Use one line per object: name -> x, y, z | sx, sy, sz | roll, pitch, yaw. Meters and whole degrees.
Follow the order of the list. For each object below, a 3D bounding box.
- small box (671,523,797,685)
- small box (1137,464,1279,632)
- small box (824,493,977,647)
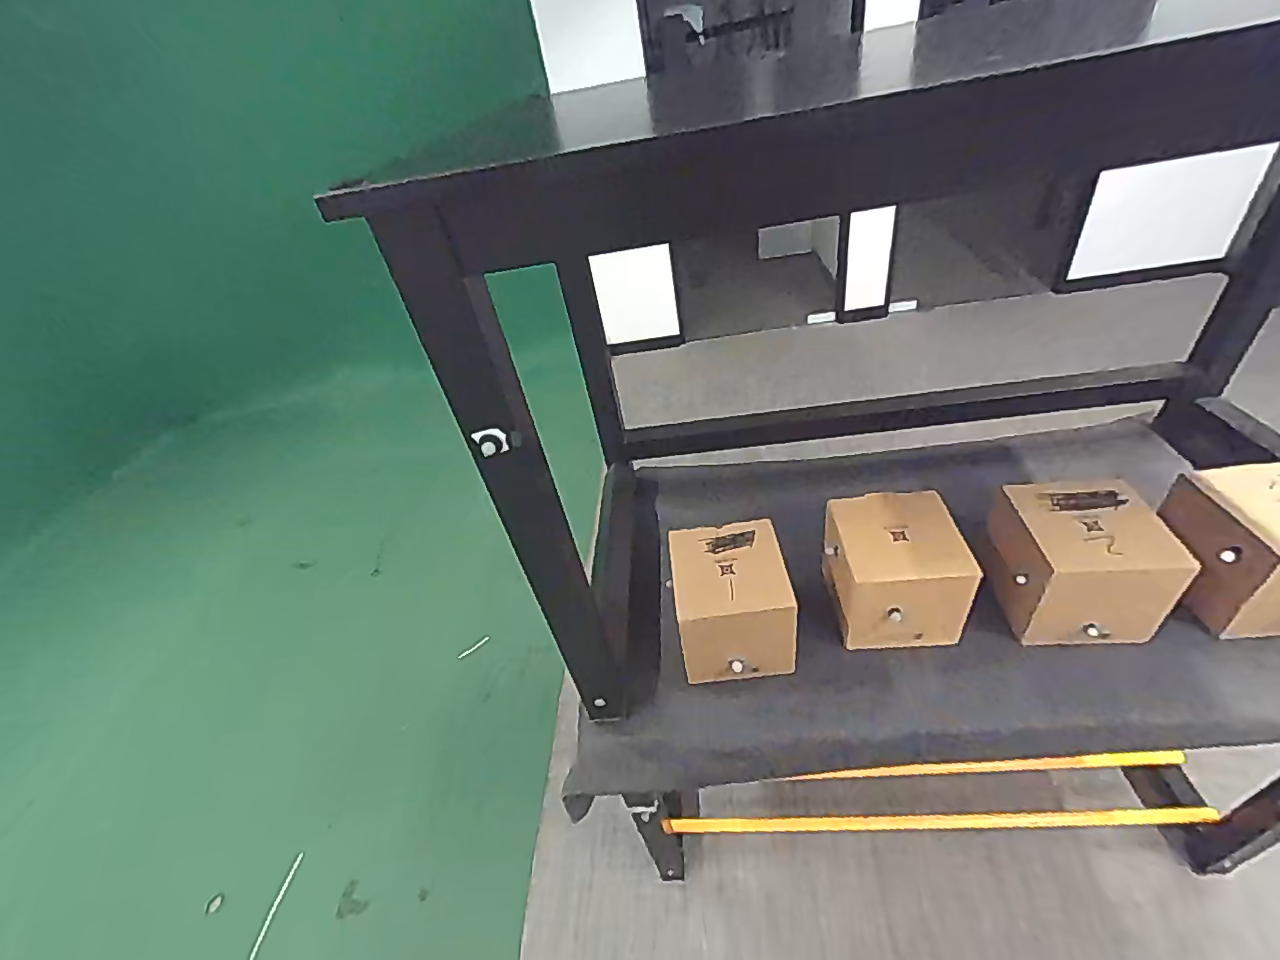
small box -> 0.142, 0.194, 0.851 | 0.168, 0.176, 0.179 | -9, 39, 5
small box -> 0.876, 0.101, 0.766 | 0.168, 0.176, 0.179 | -6, 38, 7
small box -> 0.392, 0.146, 0.847 | 0.168, 0.176, 0.179 | -6, 38, 8
